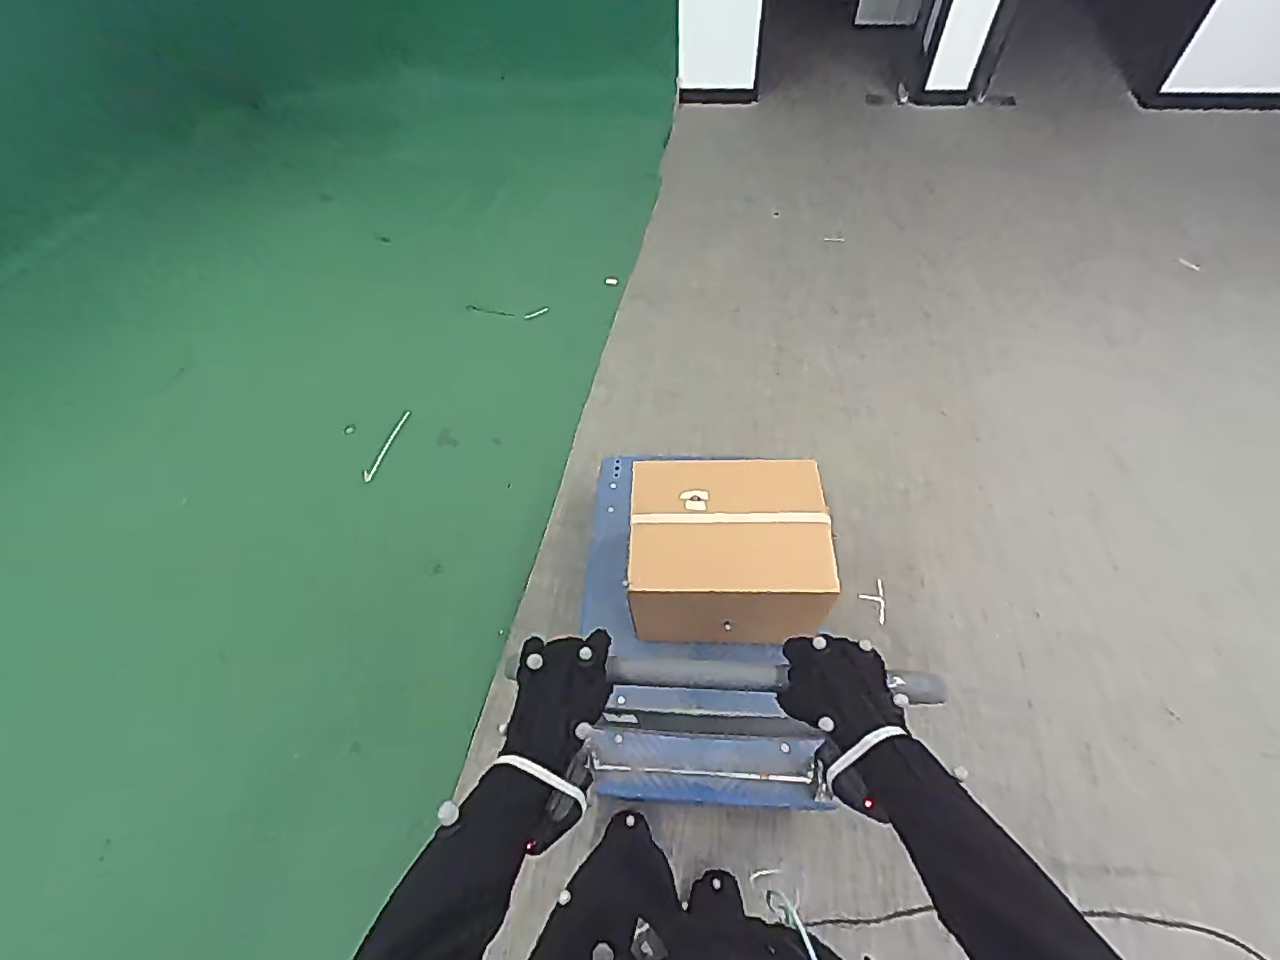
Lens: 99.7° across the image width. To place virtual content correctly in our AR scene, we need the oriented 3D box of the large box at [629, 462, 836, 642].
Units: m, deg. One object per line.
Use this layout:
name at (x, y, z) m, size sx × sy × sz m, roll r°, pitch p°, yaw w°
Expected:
large box at (0.194, 0.177, 1.245) m, size 0.408 × 0.320 × 0.320 m, roll -1°, pitch 55°, yaw 6°
